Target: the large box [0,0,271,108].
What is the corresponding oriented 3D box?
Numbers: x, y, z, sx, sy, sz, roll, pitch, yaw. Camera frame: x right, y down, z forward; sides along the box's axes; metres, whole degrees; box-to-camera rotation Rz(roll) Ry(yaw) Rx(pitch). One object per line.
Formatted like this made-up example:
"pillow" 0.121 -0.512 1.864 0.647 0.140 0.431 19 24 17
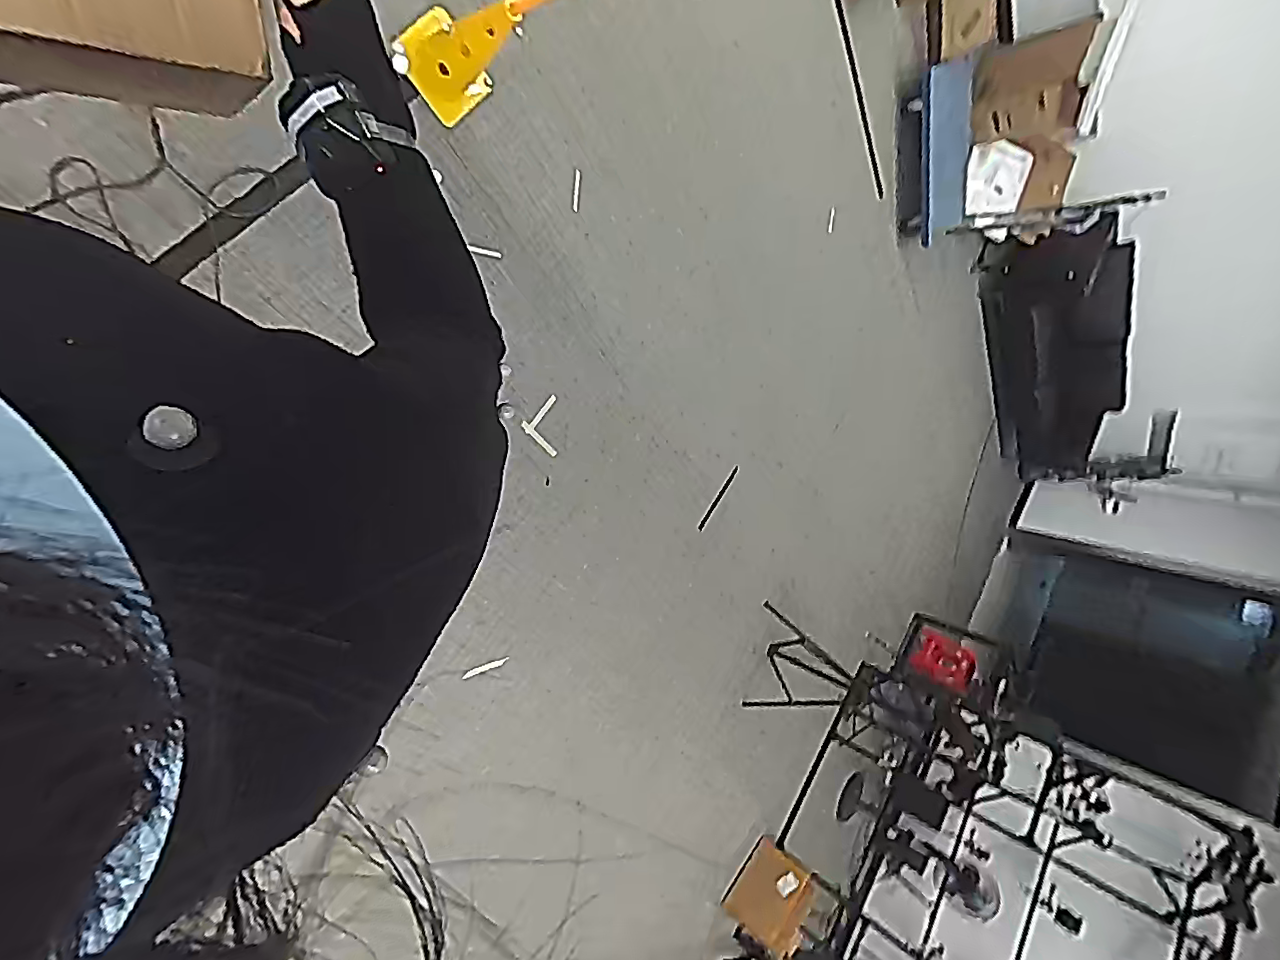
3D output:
"large box" -0.516 -0.456 0.336 0.408 0.320 0.320 -15 121 -36
